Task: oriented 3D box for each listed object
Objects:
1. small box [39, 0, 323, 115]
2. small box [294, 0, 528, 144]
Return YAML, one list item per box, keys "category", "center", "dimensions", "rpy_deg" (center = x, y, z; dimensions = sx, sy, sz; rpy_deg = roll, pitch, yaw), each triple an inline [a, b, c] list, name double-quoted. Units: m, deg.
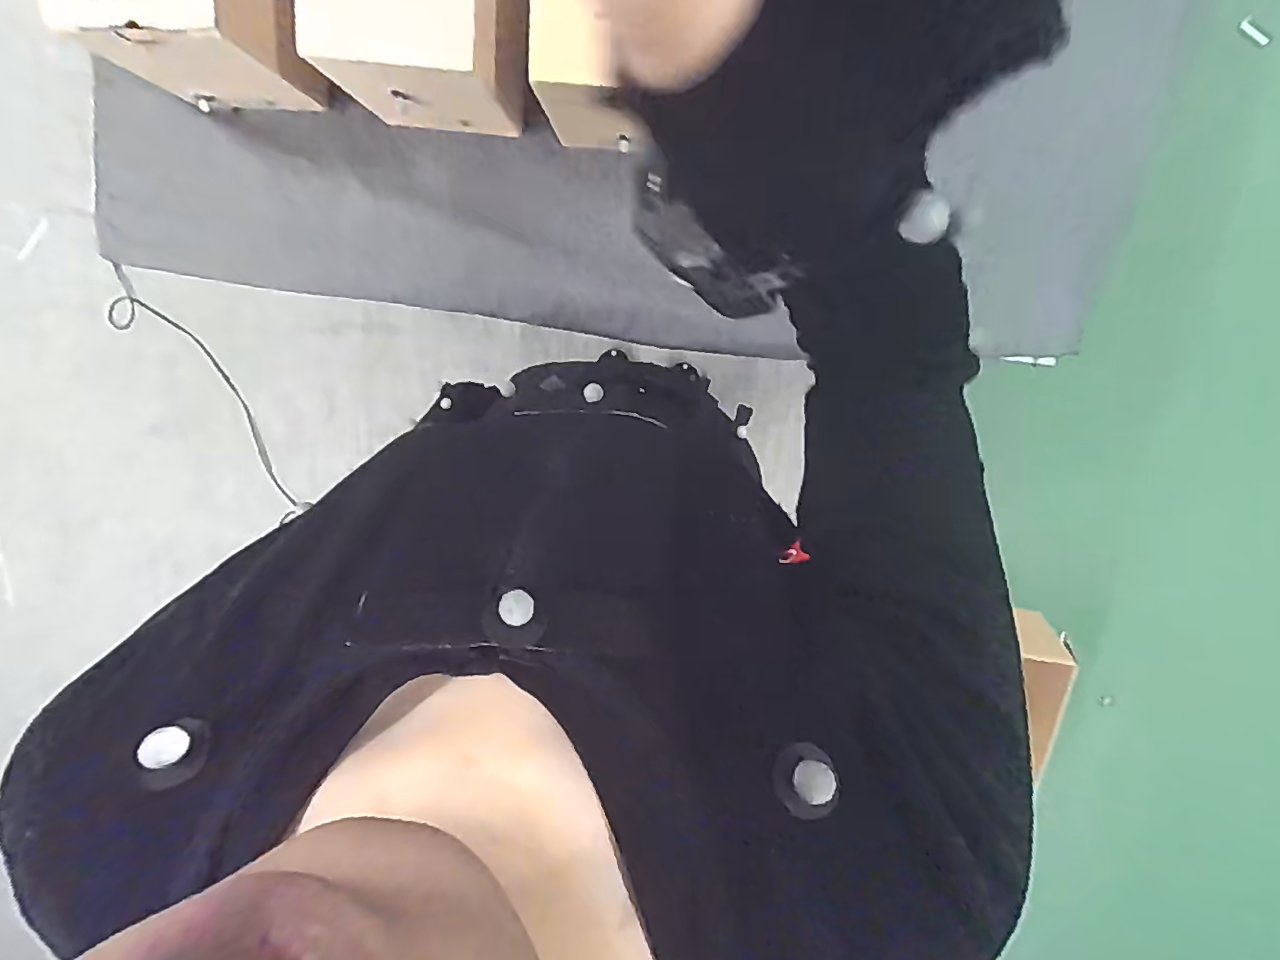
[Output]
- category: "small box"
  center: [-0.451, -0.501, 0.549]
  dimensions: [0.168, 0.176, 0.179]
  rpy_deg: [3, 102, 2]
- category: "small box"
  center: [-0.217, -0.469, 0.547]
  dimensions: [0.168, 0.176, 0.179]
  rpy_deg: [7, 103, 1]
